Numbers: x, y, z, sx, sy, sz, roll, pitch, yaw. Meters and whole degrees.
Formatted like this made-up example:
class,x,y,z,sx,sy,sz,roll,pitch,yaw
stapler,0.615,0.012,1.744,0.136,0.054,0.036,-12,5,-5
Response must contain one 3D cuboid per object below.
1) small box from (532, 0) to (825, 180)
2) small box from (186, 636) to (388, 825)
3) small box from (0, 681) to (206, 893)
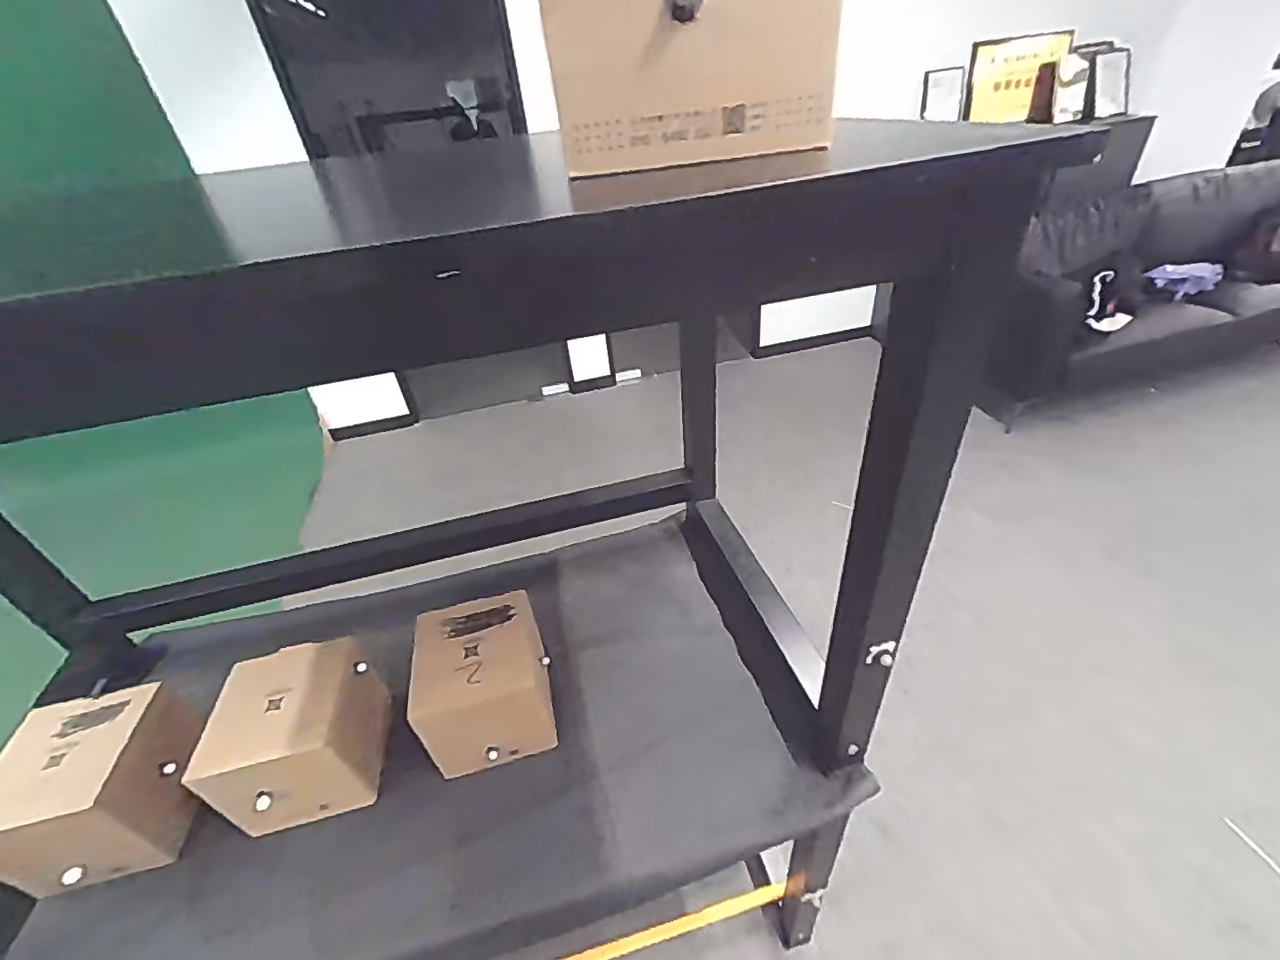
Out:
class,x,y,z,sx,sy,sz,roll,pitch,yaw
small box,0.020,-0.307,0.358,0.168,0.176,0.179,-6,36,0
small box,-0.479,0.360,0.771,0.168,0.176,0.179,-12,36,-8
small box,-0.724,0.412,0.733,0.168,0.176,0.179,-12,37,-8
